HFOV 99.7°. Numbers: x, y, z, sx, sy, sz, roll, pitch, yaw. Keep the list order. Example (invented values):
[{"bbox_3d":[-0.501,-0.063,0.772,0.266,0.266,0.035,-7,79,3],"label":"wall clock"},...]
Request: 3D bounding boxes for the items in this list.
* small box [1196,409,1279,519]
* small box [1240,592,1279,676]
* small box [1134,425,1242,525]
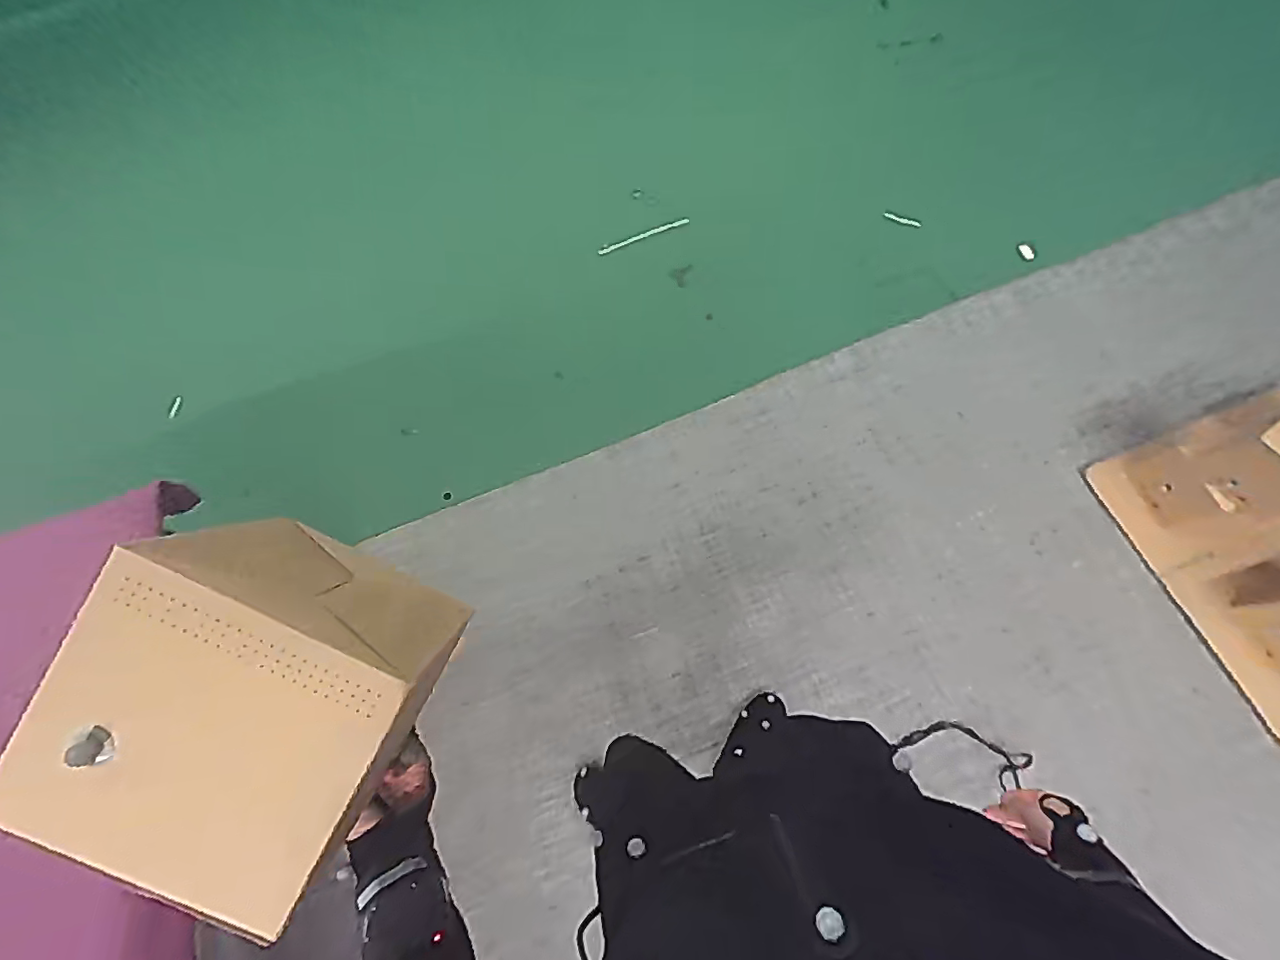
[{"bbox_3d":[1.335,-0.045,1.115,0.179,0.176,0.168,-34,71,-6],"label":"small box"},{"bbox_3d":[1.461,0.318,1.150,0.179,0.176,0.168,-18,71,-1],"label":"small box"},{"bbox_3d":[1.332,-0.006,1.275,0.179,0.176,0.168,-17,71,-1],"label":"small box"}]
